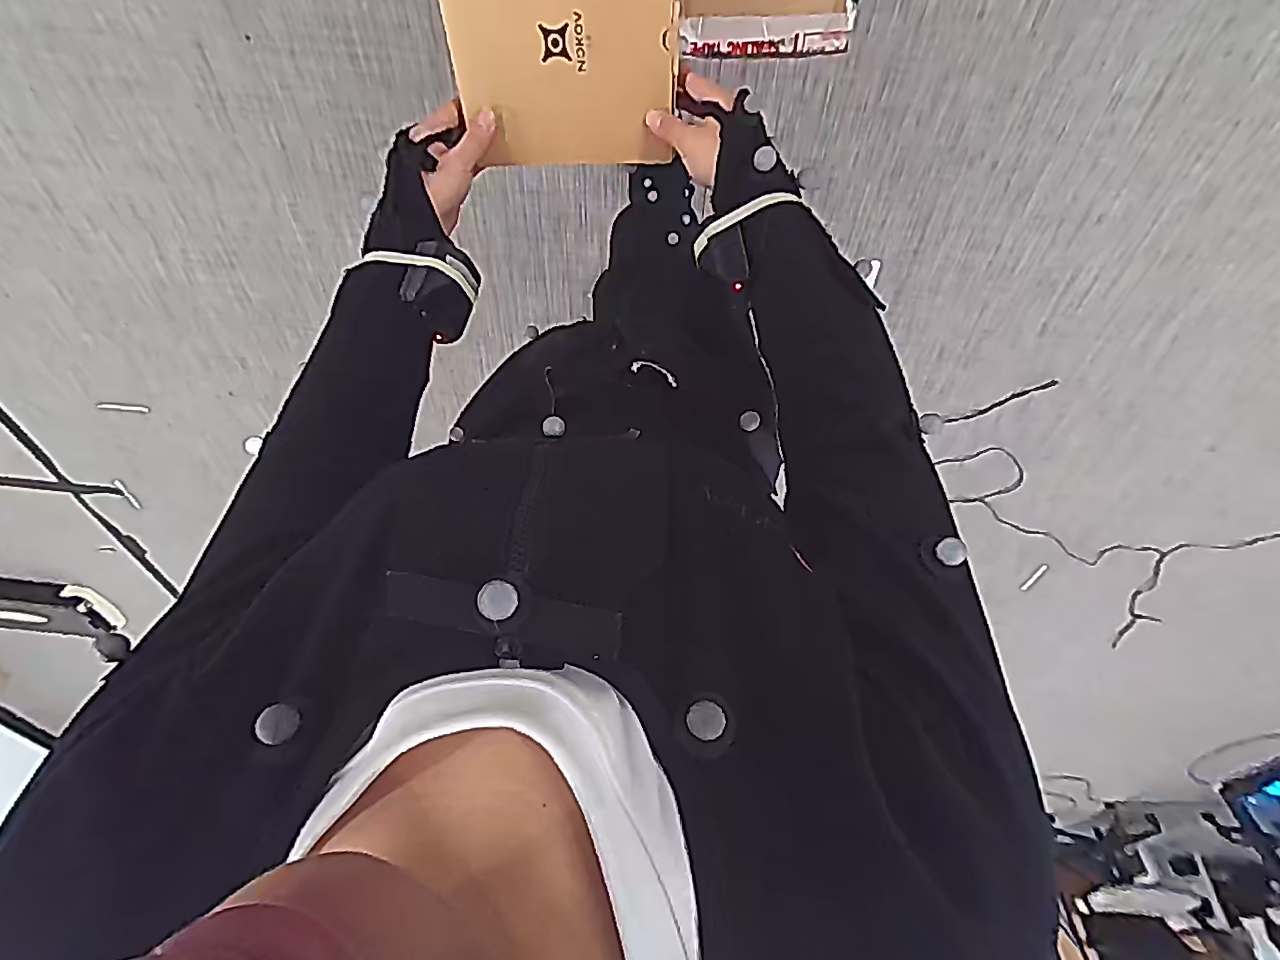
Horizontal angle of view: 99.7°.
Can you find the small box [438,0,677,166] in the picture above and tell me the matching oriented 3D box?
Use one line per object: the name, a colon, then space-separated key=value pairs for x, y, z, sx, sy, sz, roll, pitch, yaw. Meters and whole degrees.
small box: x=-0.057 y=-0.386 z=0.468 sx=0.179 sy=0.176 sz=0.168 roll=-1 pitch=135 yaw=2
